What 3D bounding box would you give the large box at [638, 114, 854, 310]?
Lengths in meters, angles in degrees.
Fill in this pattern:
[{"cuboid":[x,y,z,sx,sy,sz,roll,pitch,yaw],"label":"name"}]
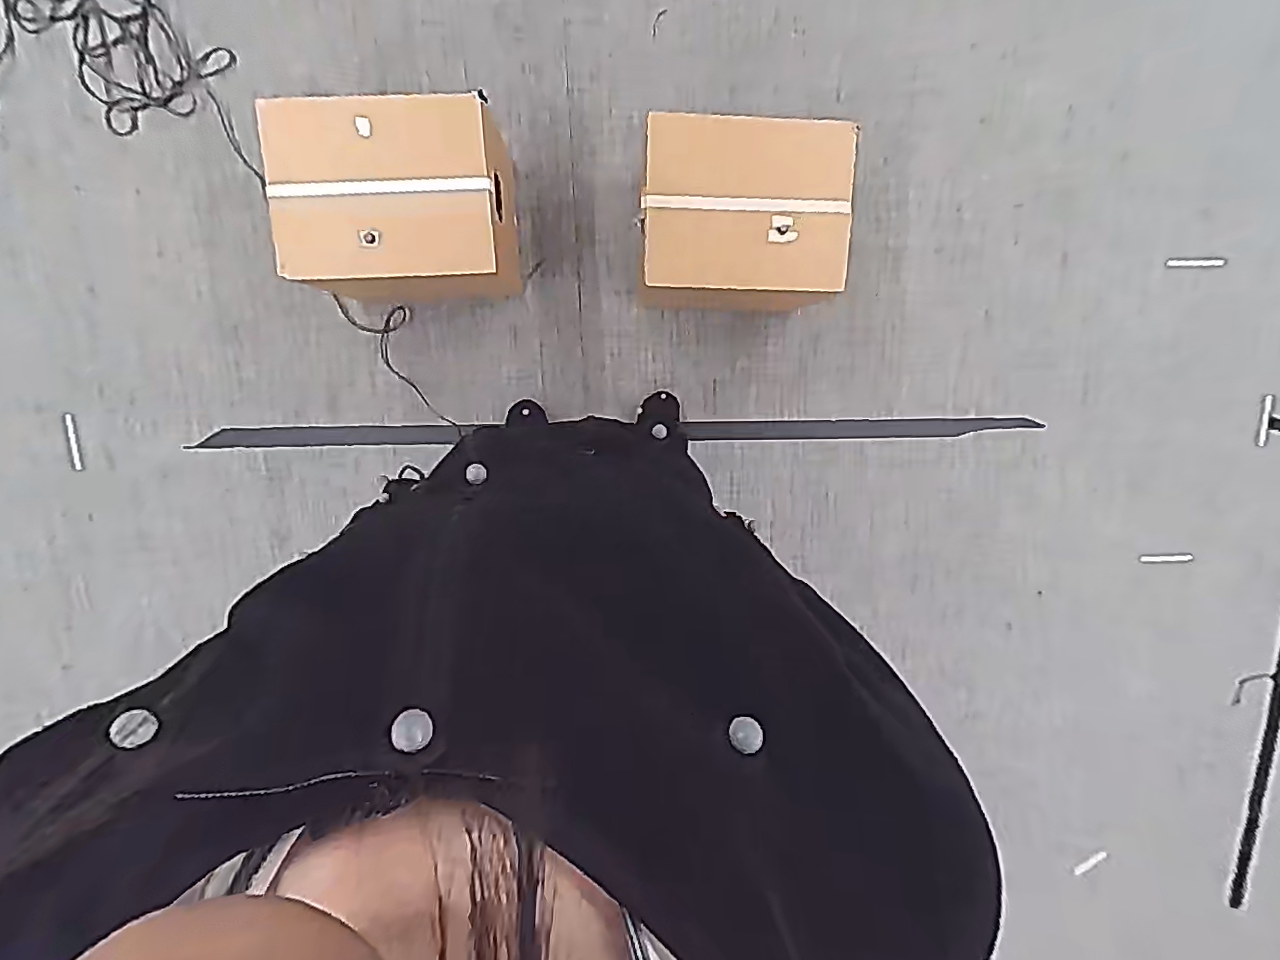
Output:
[{"cuboid":[0.204,-0.561,1.199,0.408,0.320,0.320,1,100,-4],"label":"large box"}]
